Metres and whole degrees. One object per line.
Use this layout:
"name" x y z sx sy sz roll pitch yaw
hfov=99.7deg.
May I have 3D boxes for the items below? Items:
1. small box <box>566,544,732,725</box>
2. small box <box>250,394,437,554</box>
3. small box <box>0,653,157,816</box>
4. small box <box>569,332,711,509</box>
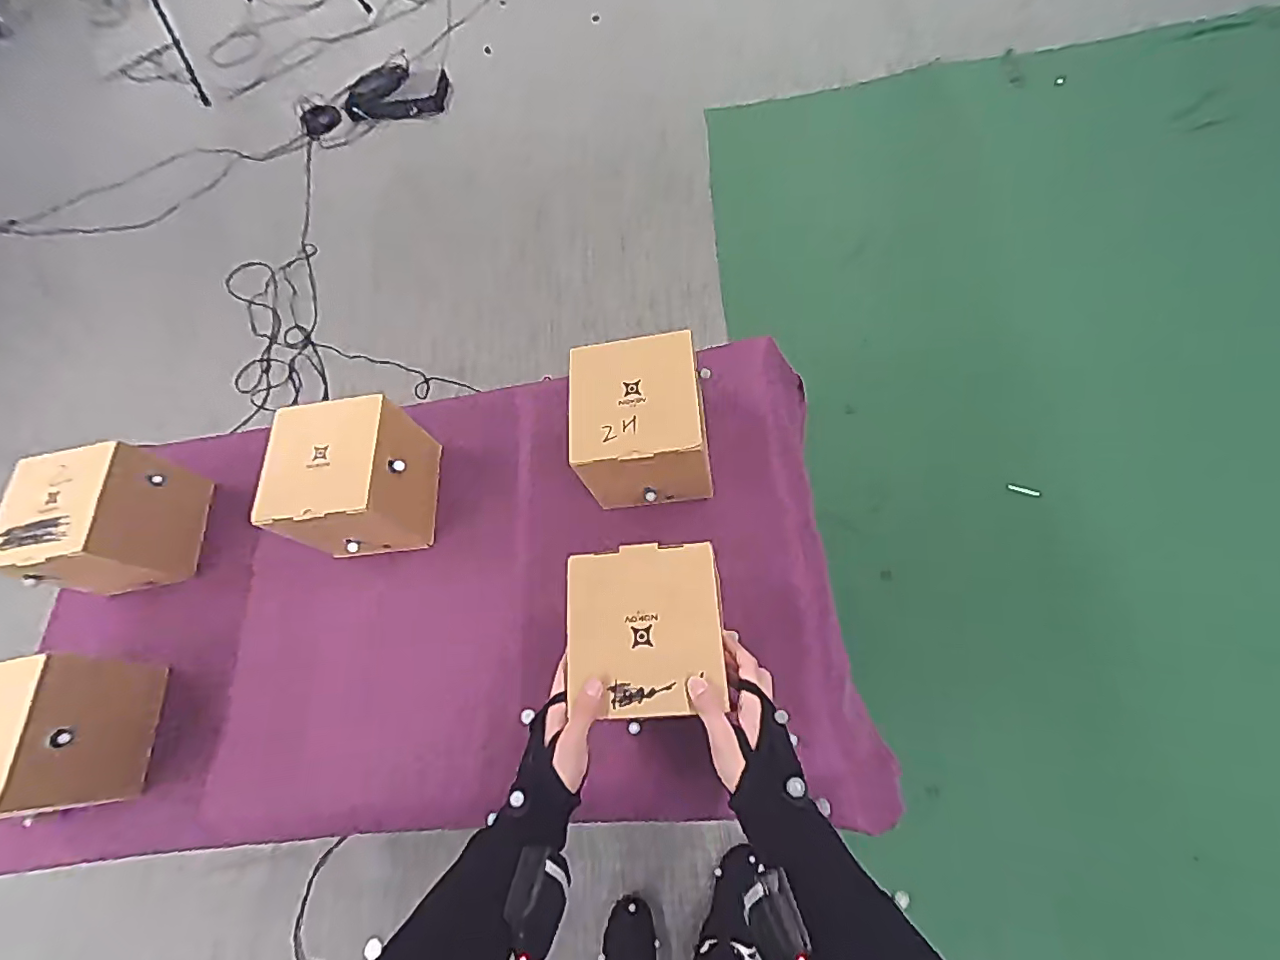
"small box" 0.016 0.189 0.636 0.168 0.176 0.179 -6 65 8
"small box" -0.415 -0.001 0.792 0.168 0.176 0.179 -6 67 6
"small box" -0.790 0.335 0.704 0.168 0.176 0.179 -11 64 4
"small box" 0.006 -0.074 0.749 0.168 0.176 0.179 -7 67 9
